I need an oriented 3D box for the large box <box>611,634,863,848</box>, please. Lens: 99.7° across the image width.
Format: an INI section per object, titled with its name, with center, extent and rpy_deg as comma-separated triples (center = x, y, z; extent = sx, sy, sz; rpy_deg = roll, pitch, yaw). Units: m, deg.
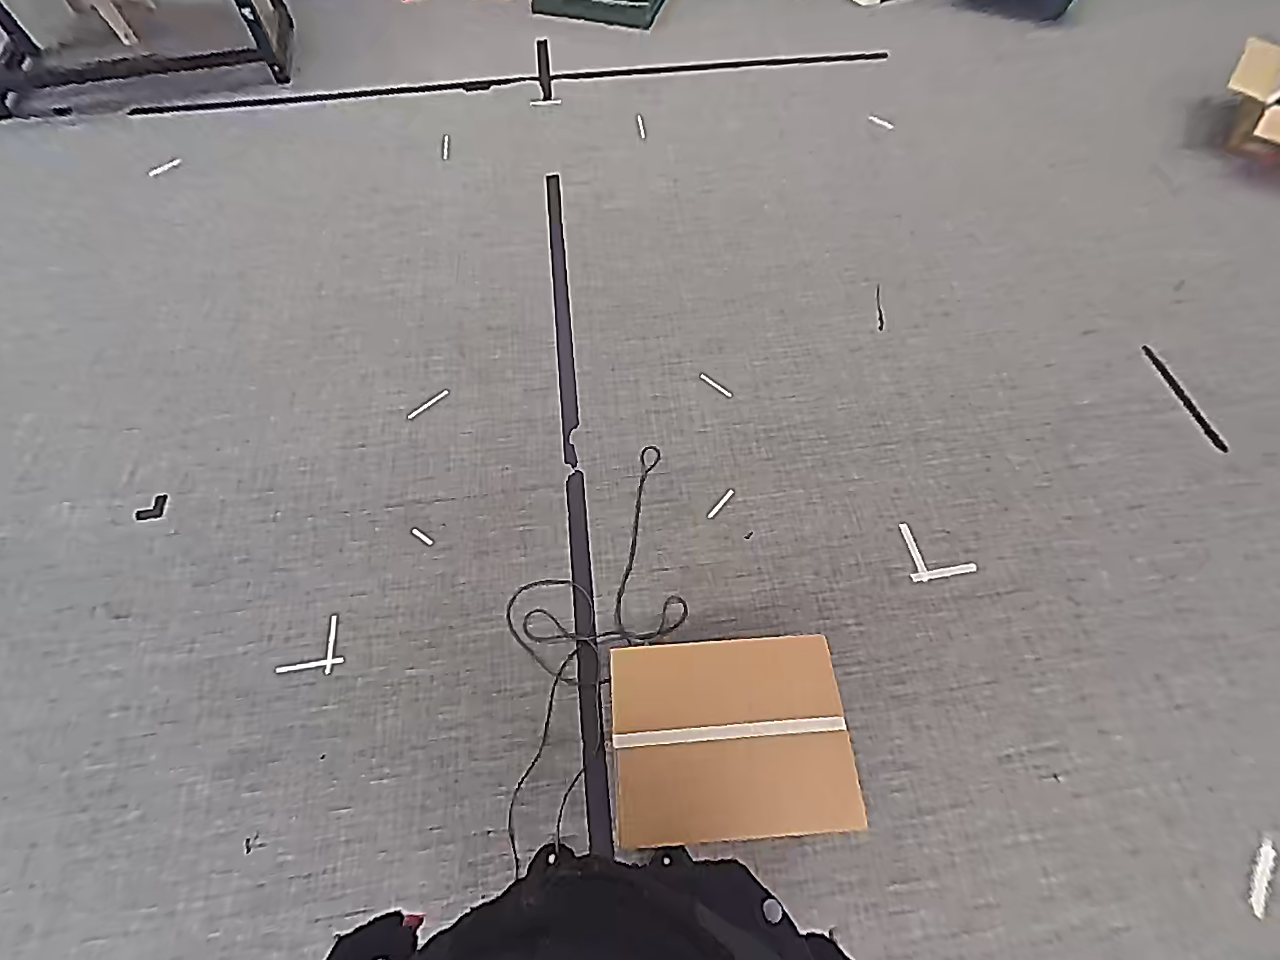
[large box]
center = 0.155, 0.508, 1.071
extent = 0.408, 0.320, 0.320
rpy_deg = -3, 63, -2
